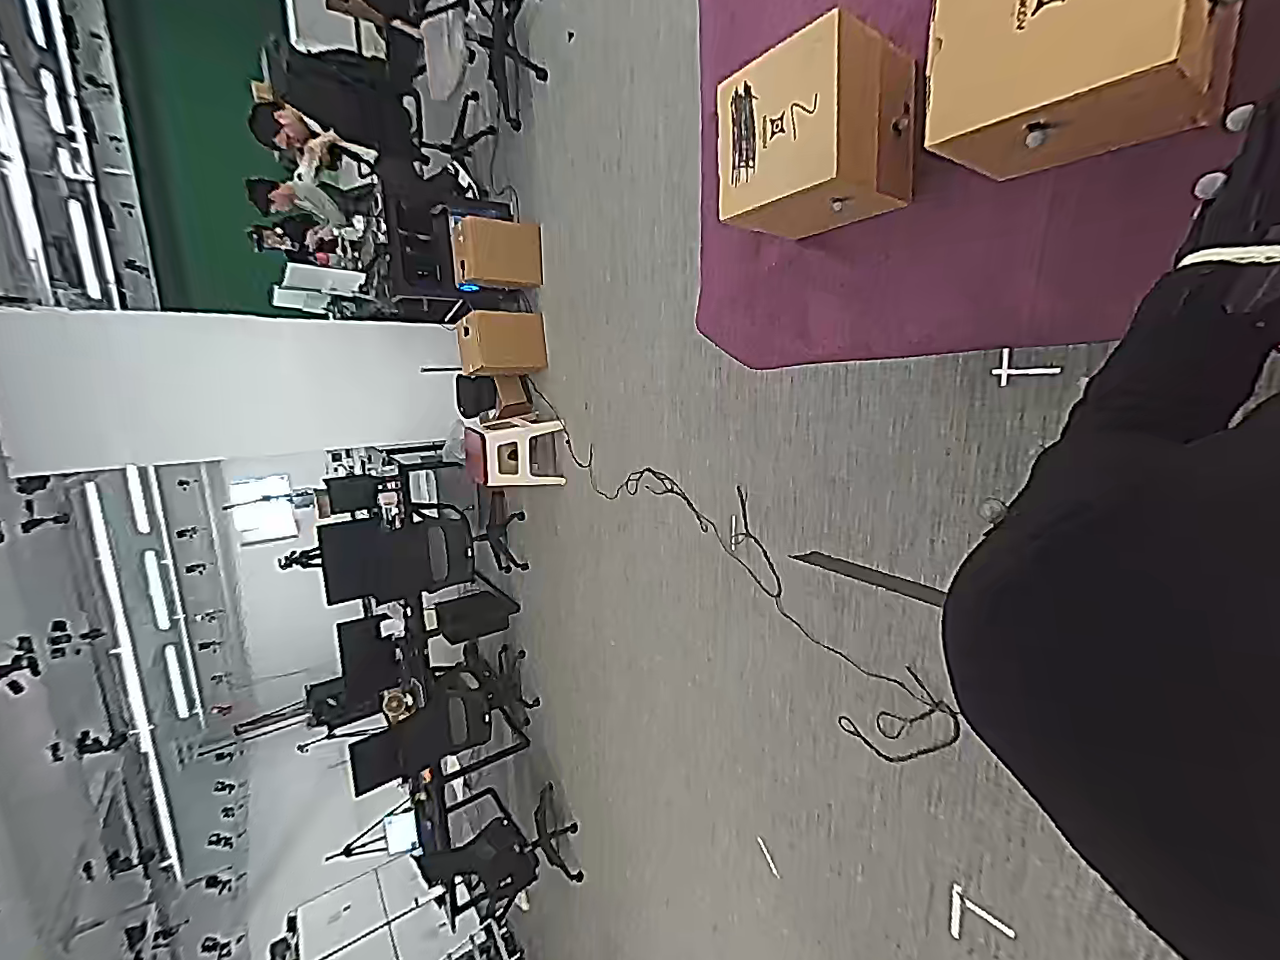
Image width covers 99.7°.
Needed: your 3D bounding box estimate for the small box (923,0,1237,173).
[{"bbox_3d":[0.377,-0.388,0.464,0.179,0.176,0.168,14,109,54],"label":"small box"}]
